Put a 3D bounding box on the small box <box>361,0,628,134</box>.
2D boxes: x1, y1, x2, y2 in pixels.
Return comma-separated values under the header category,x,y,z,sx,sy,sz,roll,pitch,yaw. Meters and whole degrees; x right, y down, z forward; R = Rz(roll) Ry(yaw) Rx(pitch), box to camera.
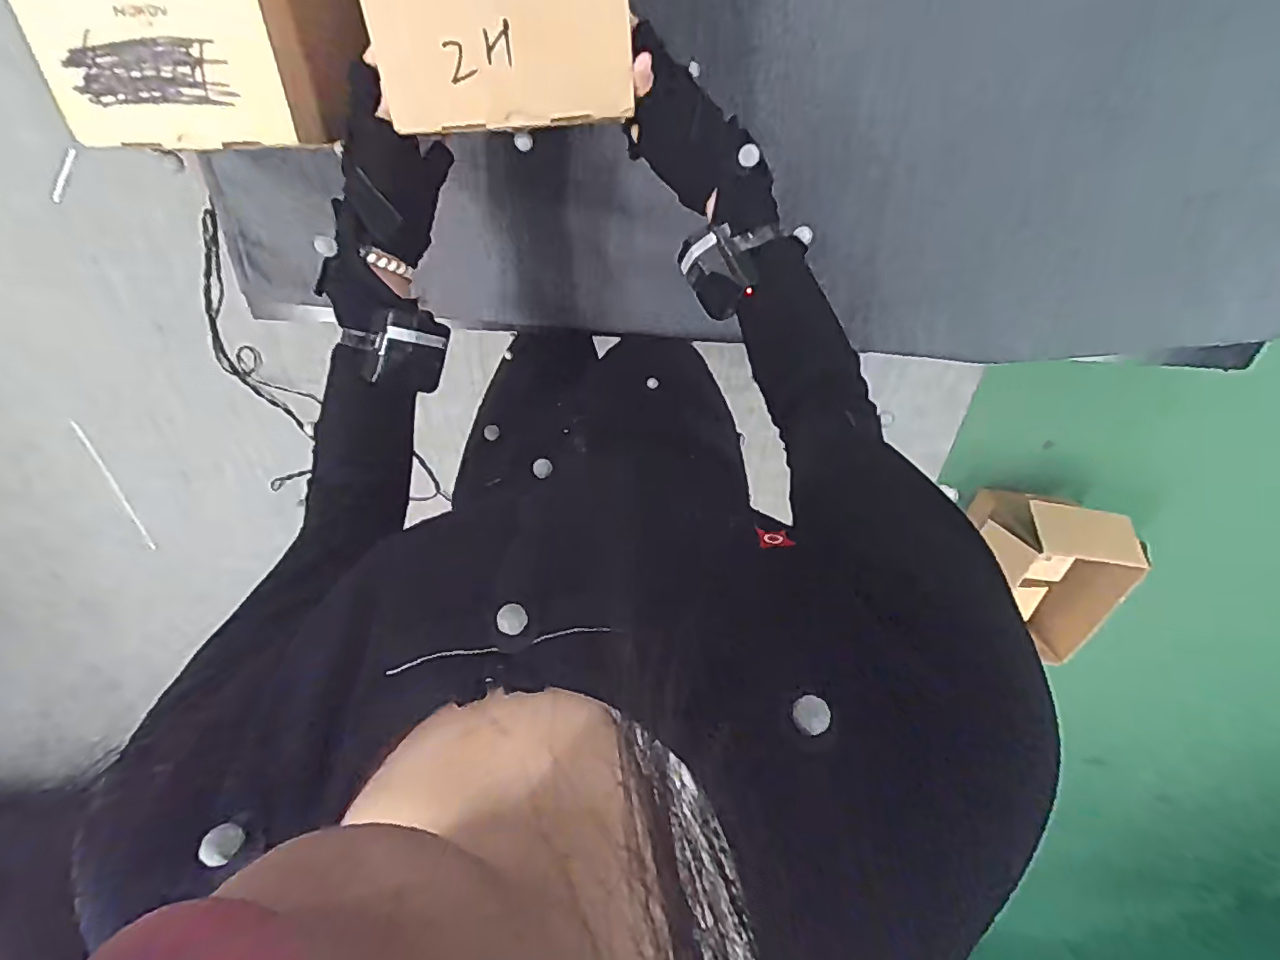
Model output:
category,x,y,z,sx,sy,sz,roll,pitch,yaw
small box,-0.104,-0.364,0.395,0.168,0.176,0.179,-7,122,-5
